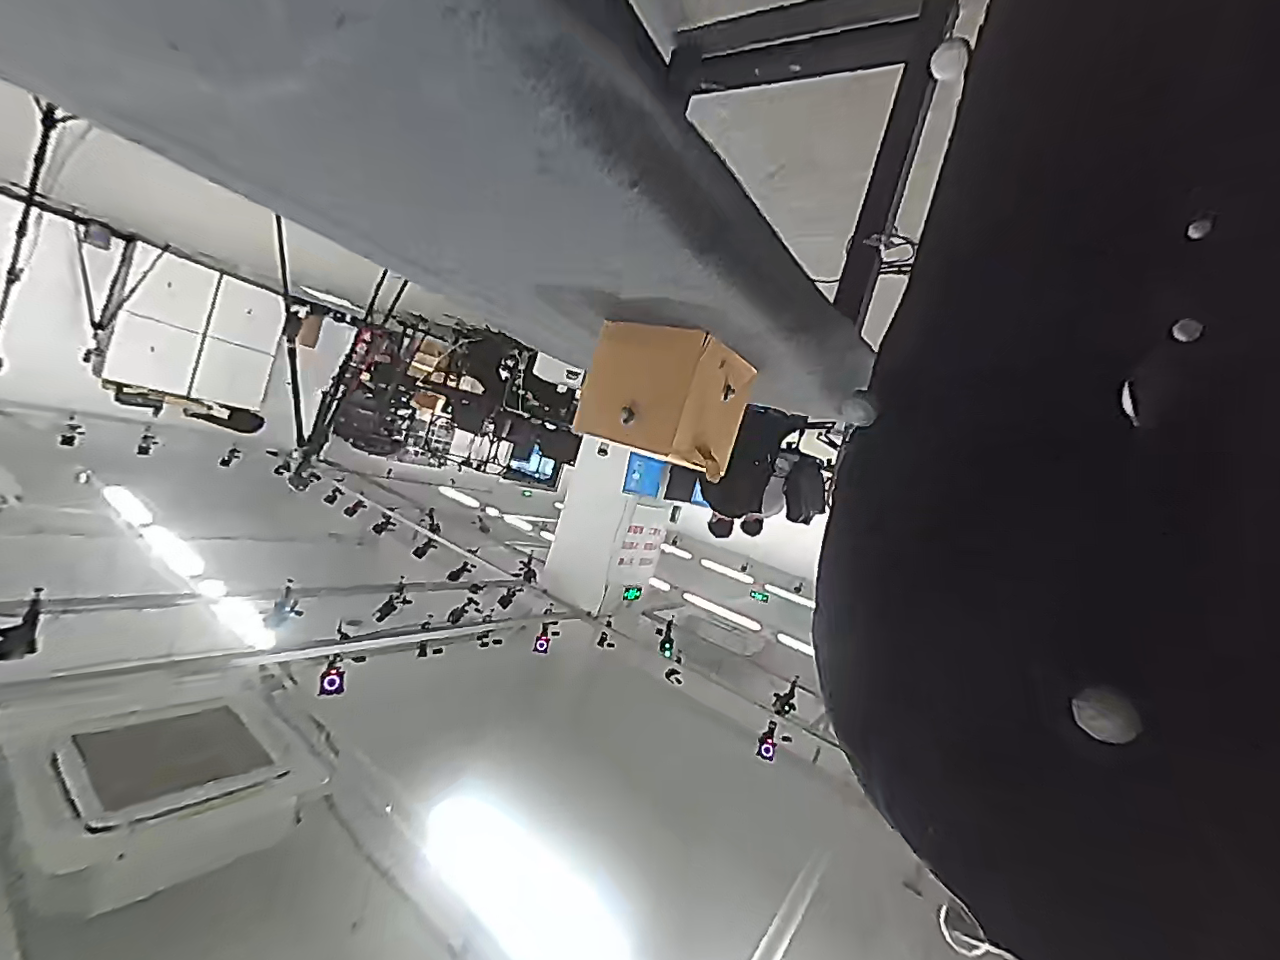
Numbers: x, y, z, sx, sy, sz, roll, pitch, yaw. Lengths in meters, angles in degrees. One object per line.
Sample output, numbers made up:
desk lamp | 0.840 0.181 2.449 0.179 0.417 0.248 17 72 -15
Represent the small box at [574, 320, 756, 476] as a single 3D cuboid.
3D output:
small box | 0.040 -0.119 0.778 0.179 0.176 0.168 18 -179 35
